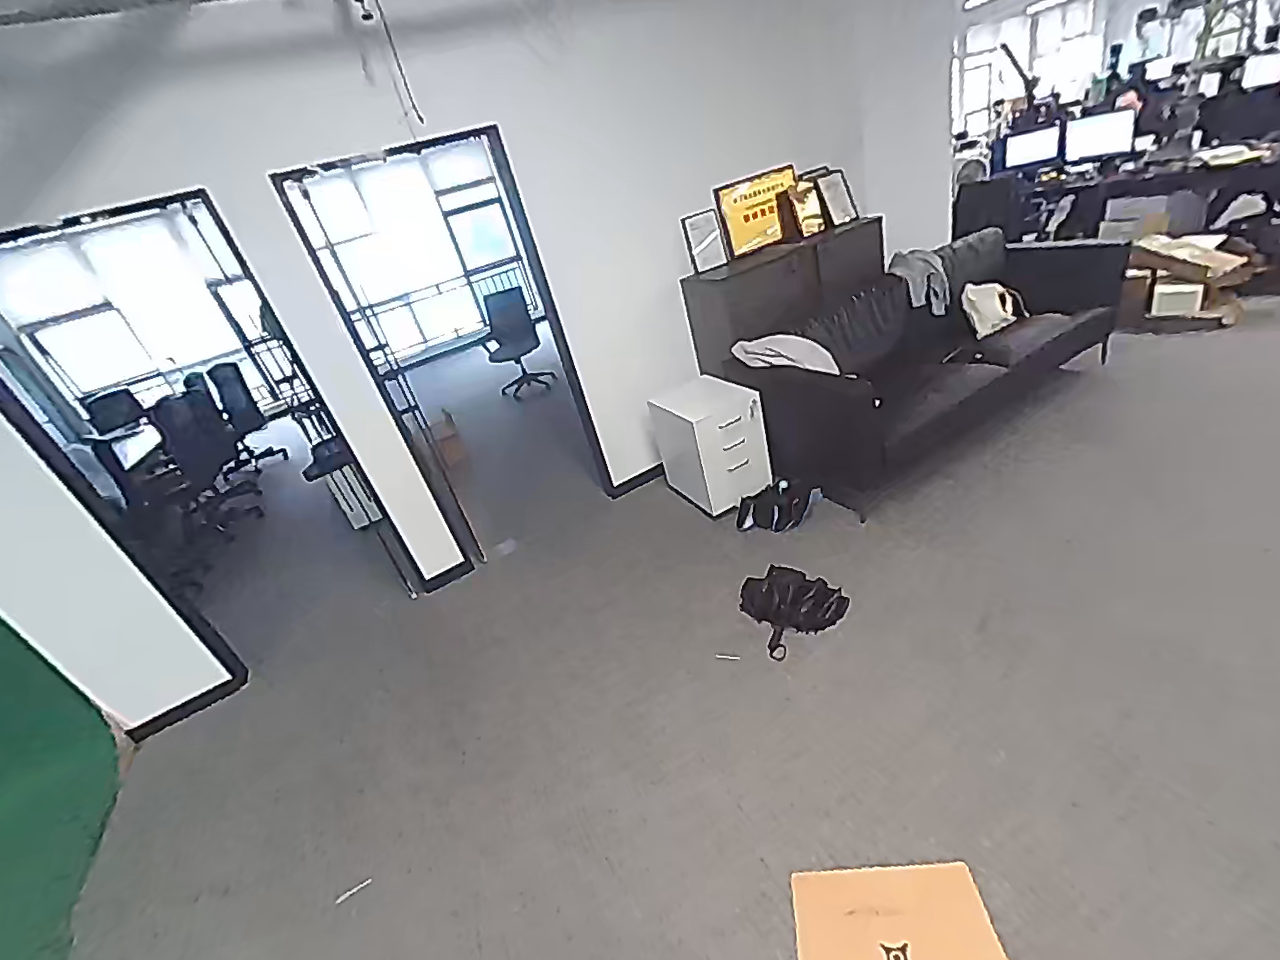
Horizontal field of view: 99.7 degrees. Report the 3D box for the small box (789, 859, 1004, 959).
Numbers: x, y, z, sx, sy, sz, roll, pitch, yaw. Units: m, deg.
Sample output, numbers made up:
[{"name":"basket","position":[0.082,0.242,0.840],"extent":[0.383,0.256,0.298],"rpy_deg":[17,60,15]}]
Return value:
[{"name":"small box","position":[0.231,0.471,0.460],"extent":[0.168,0.176,0.179],"rpy_deg":[-12,9,13]}]
